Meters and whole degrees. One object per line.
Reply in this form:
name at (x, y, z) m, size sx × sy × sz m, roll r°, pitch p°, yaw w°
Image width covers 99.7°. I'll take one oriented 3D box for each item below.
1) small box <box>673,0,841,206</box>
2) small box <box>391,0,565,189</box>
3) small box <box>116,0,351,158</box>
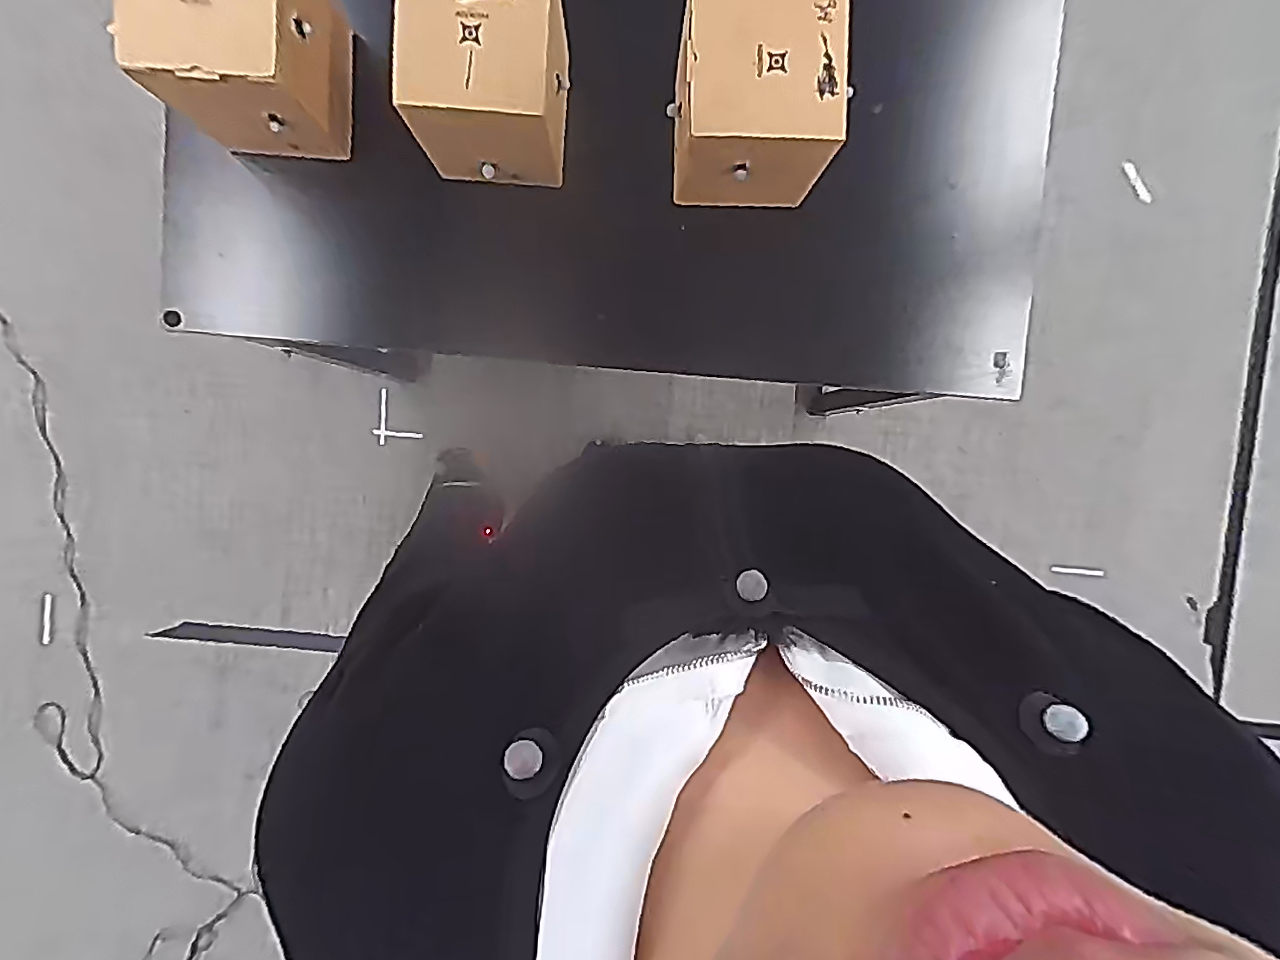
small box at (0.132, -0.460, 0.673) m, size 0.179 × 0.176 × 0.168 m, roll 0°, pitch 93°, yaw -1°
small box at (-0.184, -0.490, 0.661) m, size 0.168 × 0.176 × 0.179 m, roll 3°, pitch 94°, yaw -2°
small box at (-0.470, -0.520, 0.651) m, size 0.168 × 0.176 × 0.179 m, roll 2°, pitch 92°, yaw -3°
